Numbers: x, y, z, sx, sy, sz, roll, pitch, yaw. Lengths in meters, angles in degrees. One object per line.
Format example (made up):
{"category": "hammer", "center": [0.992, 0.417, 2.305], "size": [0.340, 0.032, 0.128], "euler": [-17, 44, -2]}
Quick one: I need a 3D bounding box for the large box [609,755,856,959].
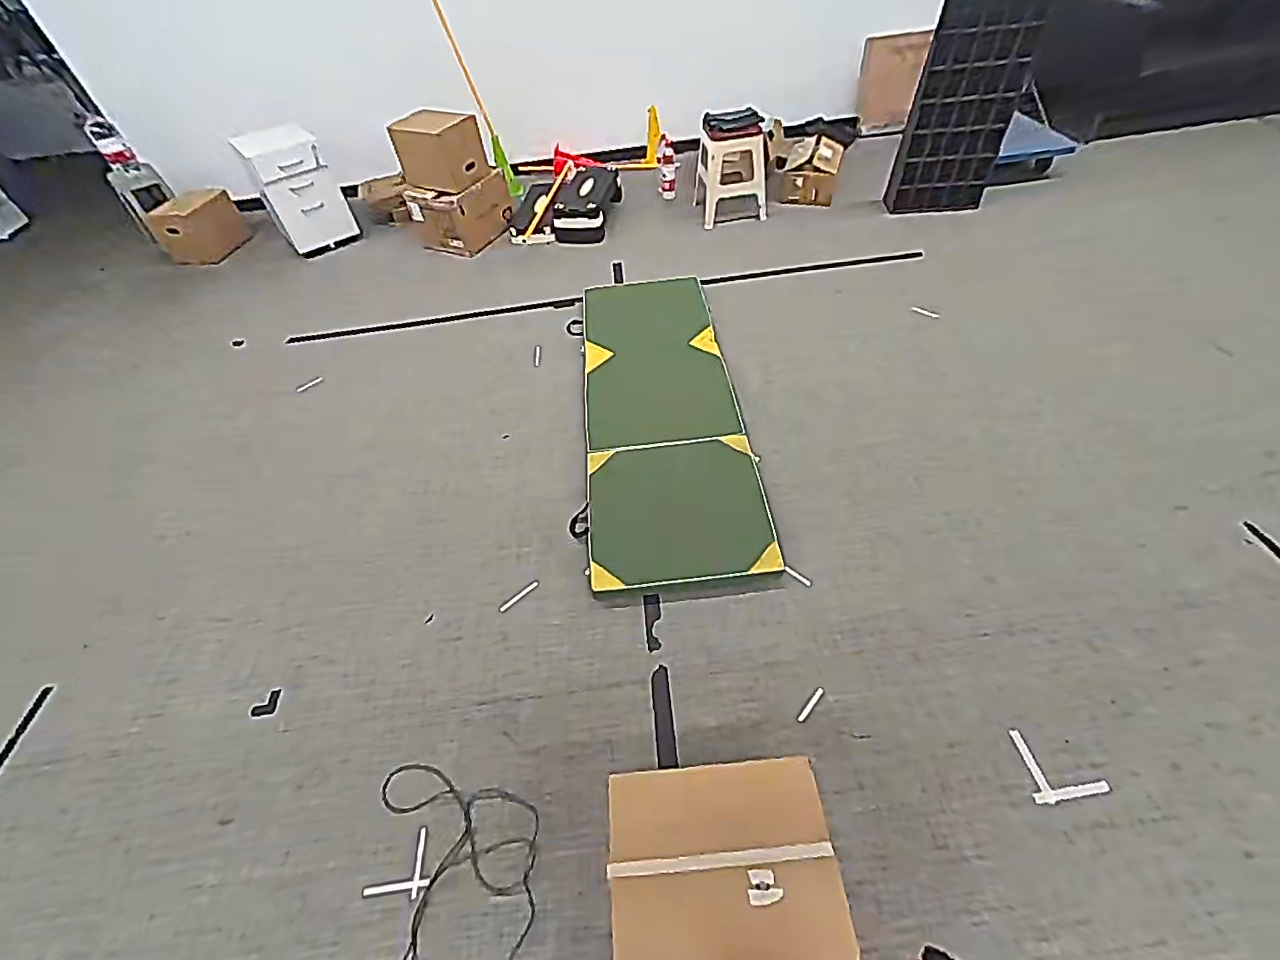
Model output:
{"category": "large box", "center": [0.158, 0.790, 1.095], "size": [0.408, 0.320, 0.320], "euler": [-6, 48, 0]}
